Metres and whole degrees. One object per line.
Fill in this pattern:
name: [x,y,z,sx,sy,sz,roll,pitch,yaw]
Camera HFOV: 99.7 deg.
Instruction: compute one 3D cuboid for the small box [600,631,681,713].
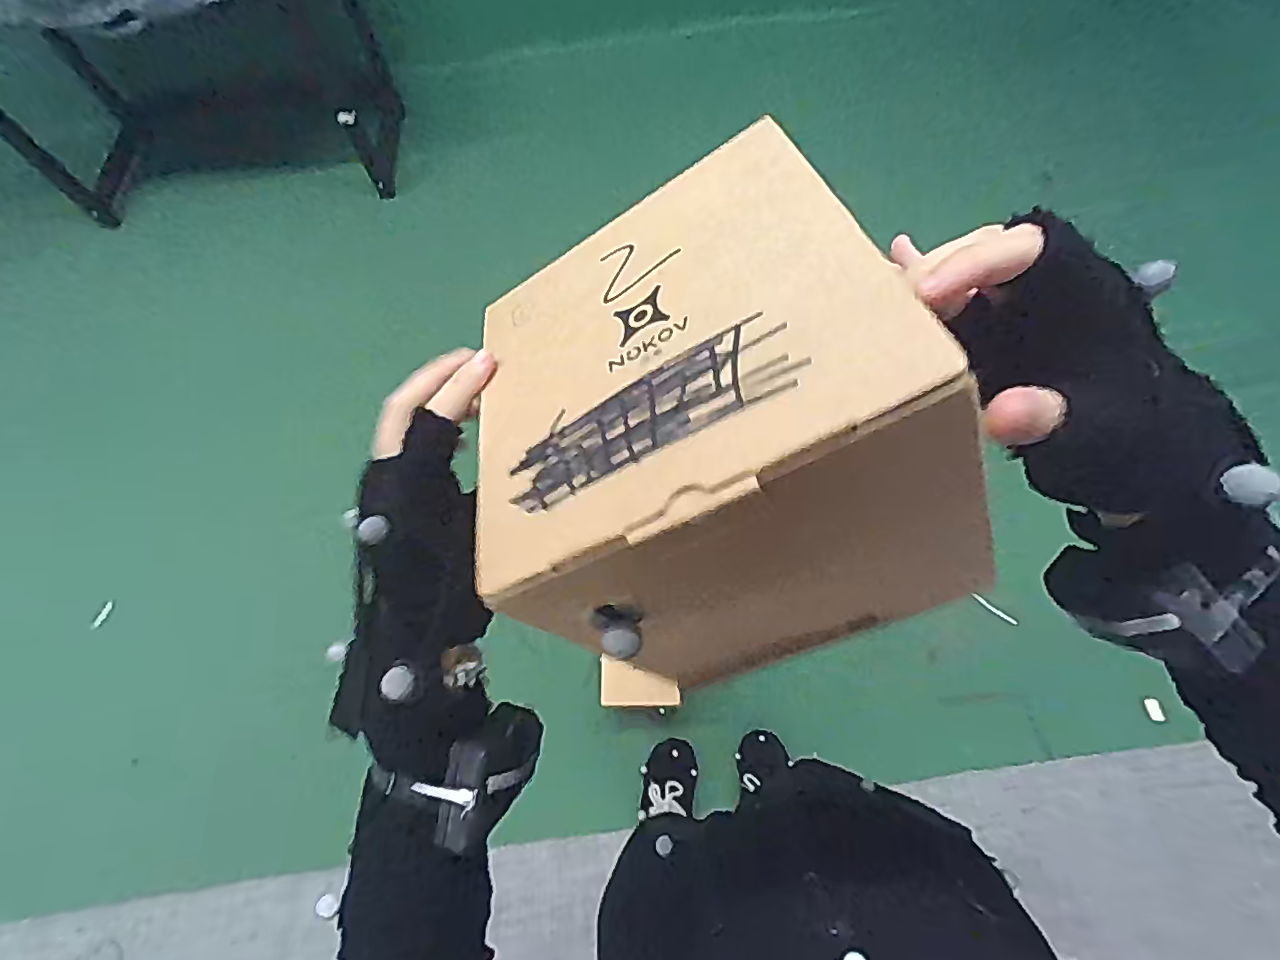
small box: [0.007,0.456,1.276,0.179,0.176,0.168,-2,64,3]
